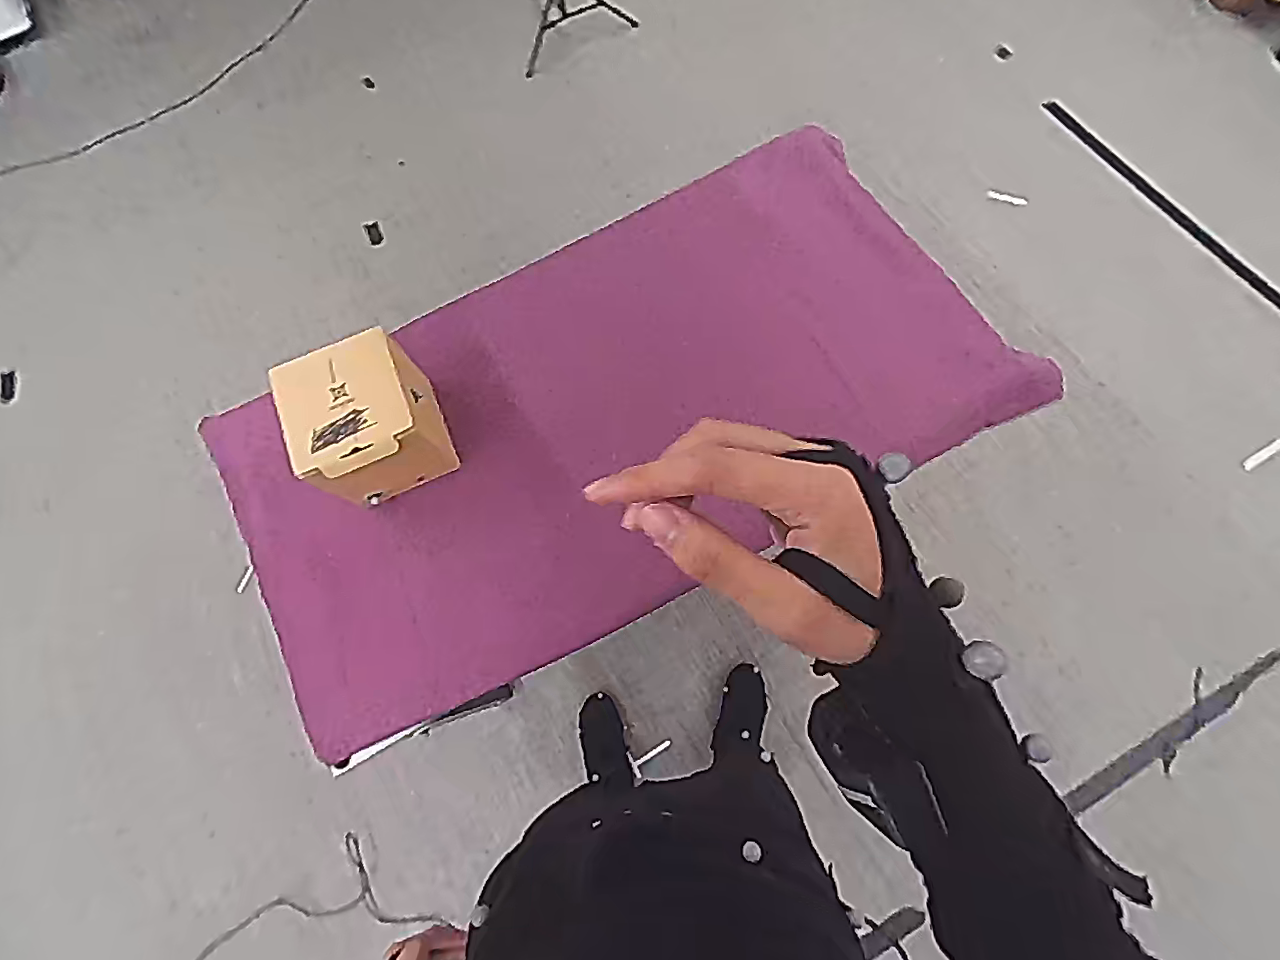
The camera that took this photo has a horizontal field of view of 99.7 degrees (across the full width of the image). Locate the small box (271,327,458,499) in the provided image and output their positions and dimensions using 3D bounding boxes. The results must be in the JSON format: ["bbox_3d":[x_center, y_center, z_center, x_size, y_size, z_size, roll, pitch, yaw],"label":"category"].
[{"bbox_3d":[-0.394,-0.085,0.800,0.168,0.176,0.179,-24,74,-5],"label":"small box"}]
